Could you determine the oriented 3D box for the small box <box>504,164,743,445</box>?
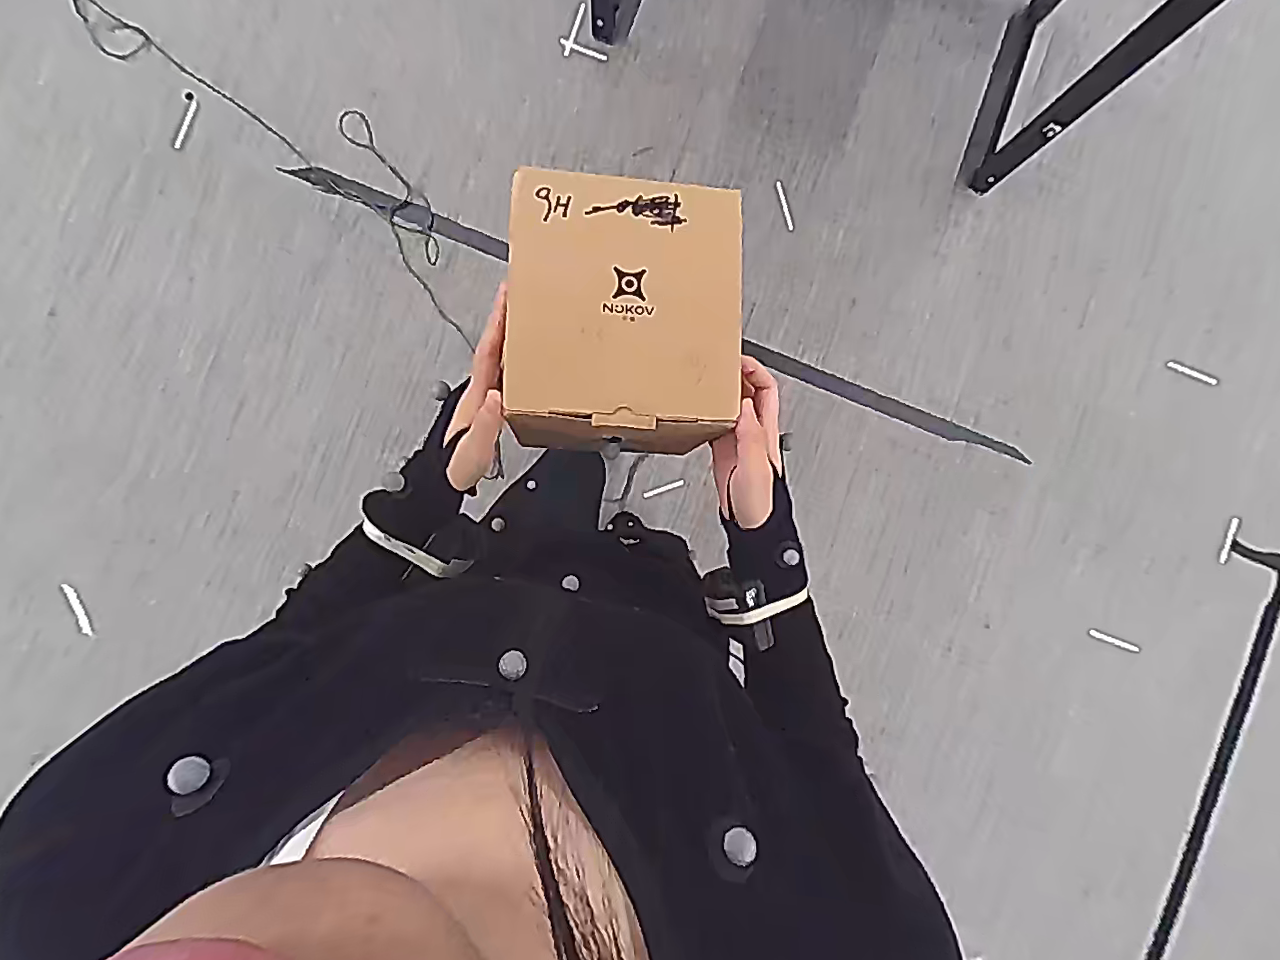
[{"bbox_3d":[-0.018,-0.125,0.457,0.168,0.176,0.179,2,86,-8],"label":"small box"}]
